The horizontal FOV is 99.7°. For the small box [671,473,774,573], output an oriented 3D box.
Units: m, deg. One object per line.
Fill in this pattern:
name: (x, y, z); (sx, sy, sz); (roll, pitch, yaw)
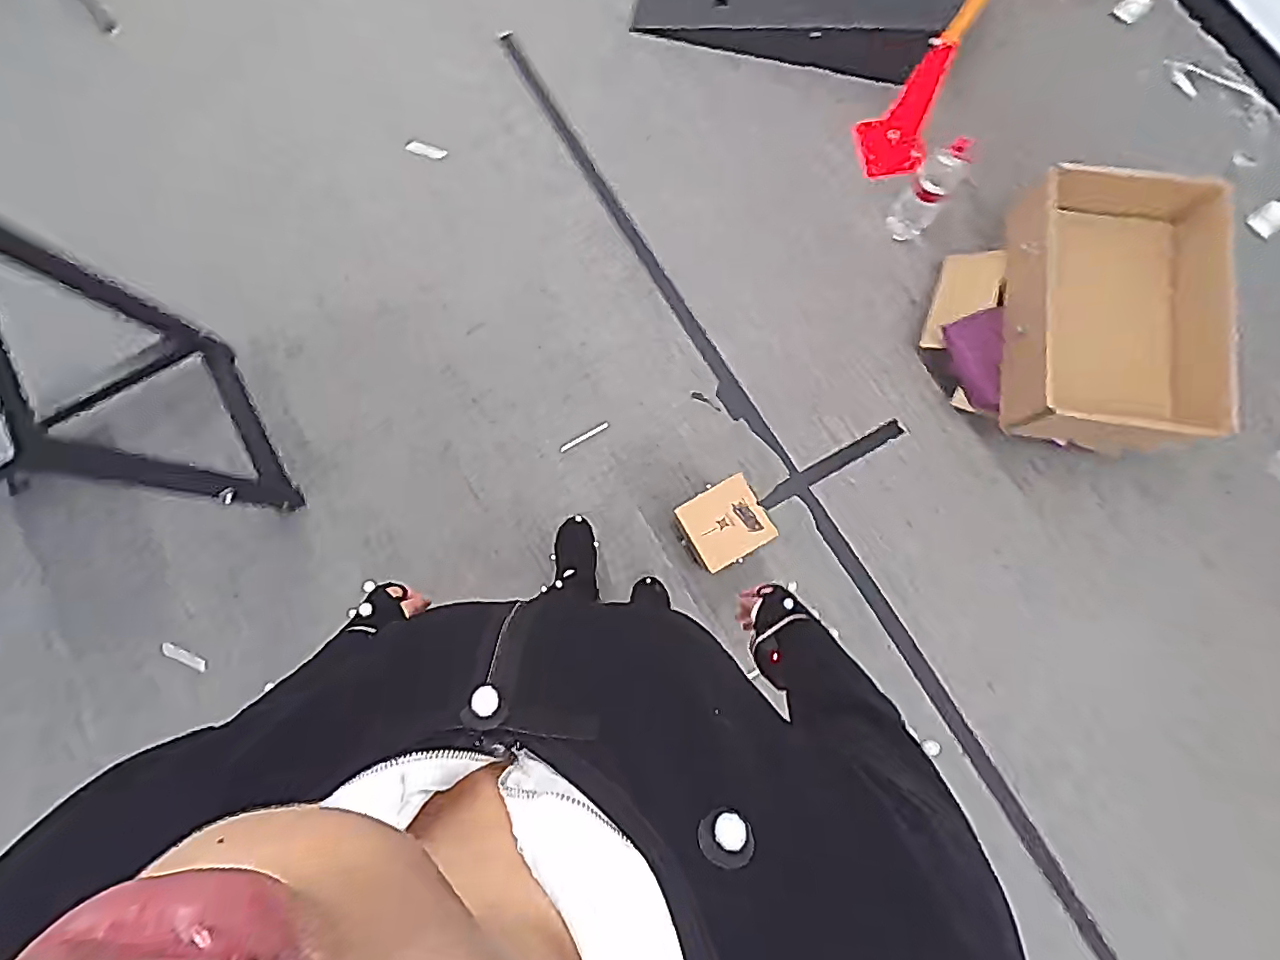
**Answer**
small box: (0.184, 0.104, 1.274); (0.179, 0.176, 0.168); (-29, 81, -2)
